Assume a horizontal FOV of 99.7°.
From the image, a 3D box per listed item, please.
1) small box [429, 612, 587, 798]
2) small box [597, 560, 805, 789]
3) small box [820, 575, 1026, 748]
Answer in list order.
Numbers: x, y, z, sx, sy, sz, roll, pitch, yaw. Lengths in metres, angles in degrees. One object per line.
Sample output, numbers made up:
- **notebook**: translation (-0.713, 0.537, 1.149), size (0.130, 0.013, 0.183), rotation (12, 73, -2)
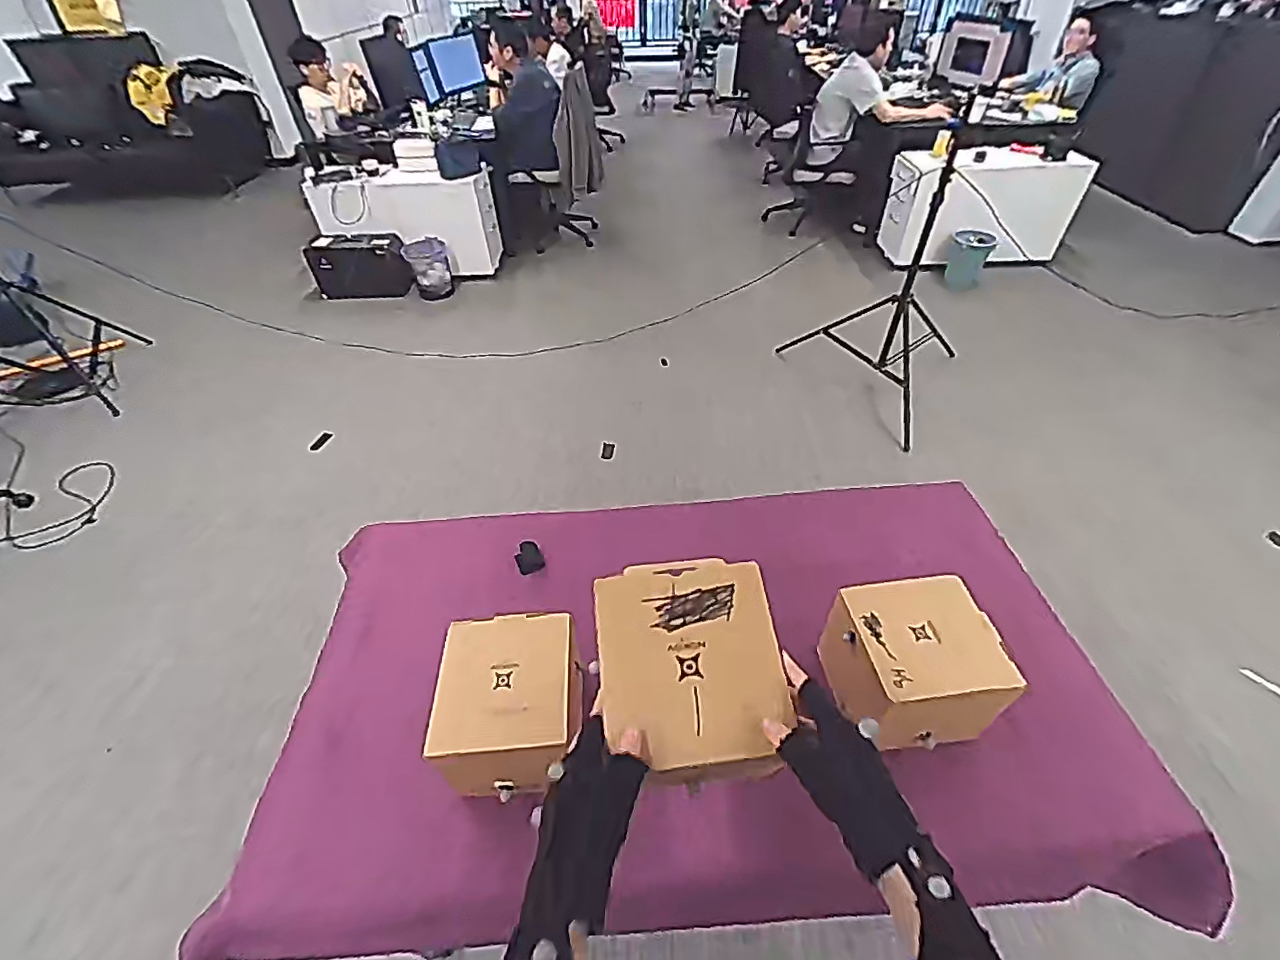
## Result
- **small box**: translation (-0.164, 0.303, 0.732), size (0.168, 0.176, 0.179), rotation (-5, 45, -2)
- **small box**: translation (0.048, 0.201, 0.550), size (0.168, 0.176, 0.179), rotation (-7, 58, -2)
- **small box**: translation (0.376, 0.256, 0.759), size (0.179, 0.176, 0.168), rotation (-5, 44, -3)
